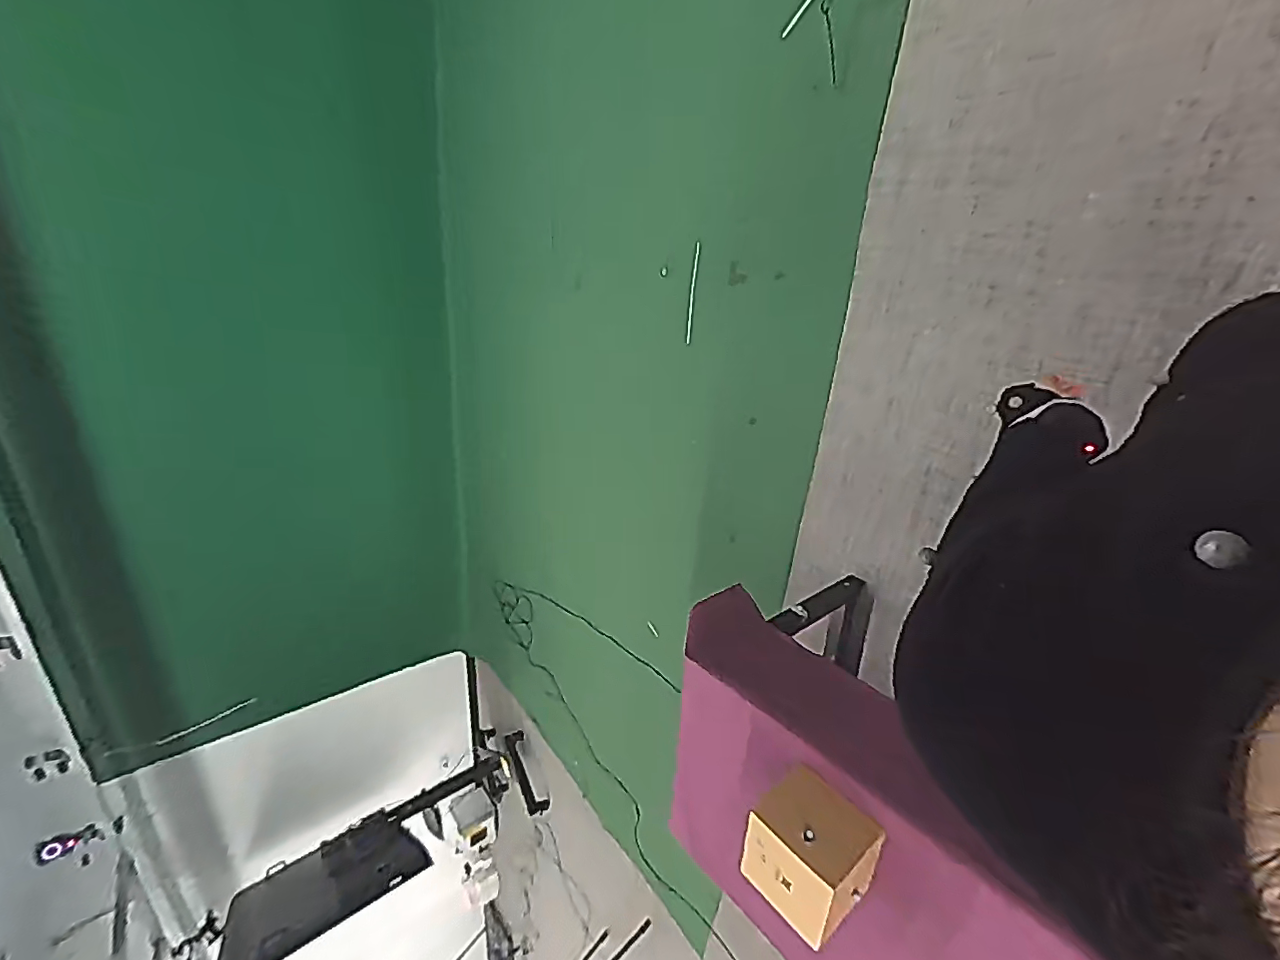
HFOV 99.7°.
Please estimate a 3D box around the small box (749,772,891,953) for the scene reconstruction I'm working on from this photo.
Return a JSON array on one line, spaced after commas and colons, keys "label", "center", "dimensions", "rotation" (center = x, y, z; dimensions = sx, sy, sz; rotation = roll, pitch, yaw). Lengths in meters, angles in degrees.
[{"label": "small box", "center": [0.329, 0.685, 0.993], "dimensions": [0.179, 0.176, 0.168], "rotation": [26, 121, 45]}]
